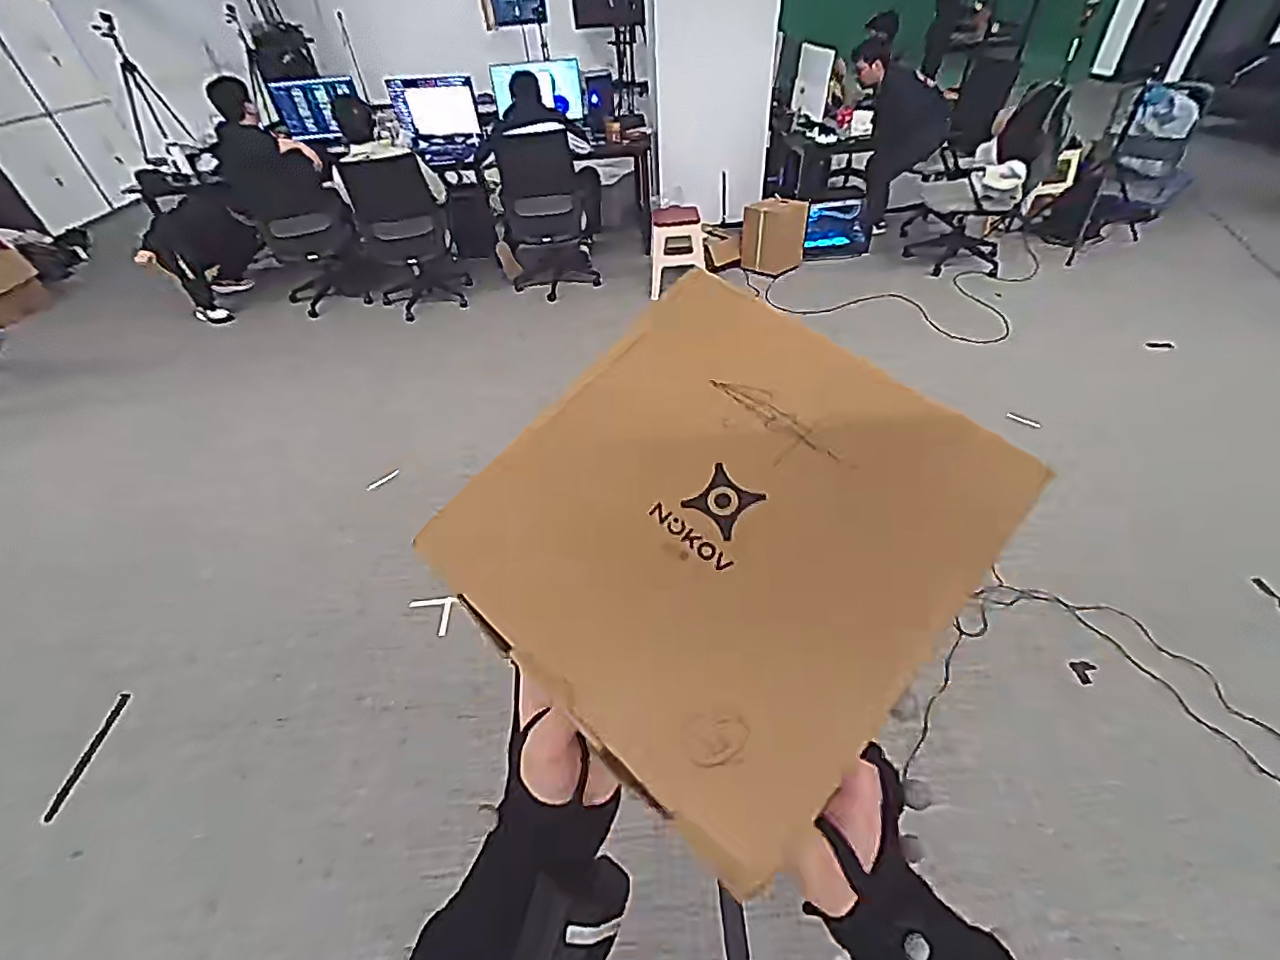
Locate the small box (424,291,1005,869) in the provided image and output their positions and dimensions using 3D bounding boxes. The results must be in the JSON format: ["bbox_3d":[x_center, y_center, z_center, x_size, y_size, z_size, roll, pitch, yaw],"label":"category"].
[{"bbox_3d":[0.035,0.047,0.286,0.168,0.176,0.179,37,75,19],"label":"small box"}]
